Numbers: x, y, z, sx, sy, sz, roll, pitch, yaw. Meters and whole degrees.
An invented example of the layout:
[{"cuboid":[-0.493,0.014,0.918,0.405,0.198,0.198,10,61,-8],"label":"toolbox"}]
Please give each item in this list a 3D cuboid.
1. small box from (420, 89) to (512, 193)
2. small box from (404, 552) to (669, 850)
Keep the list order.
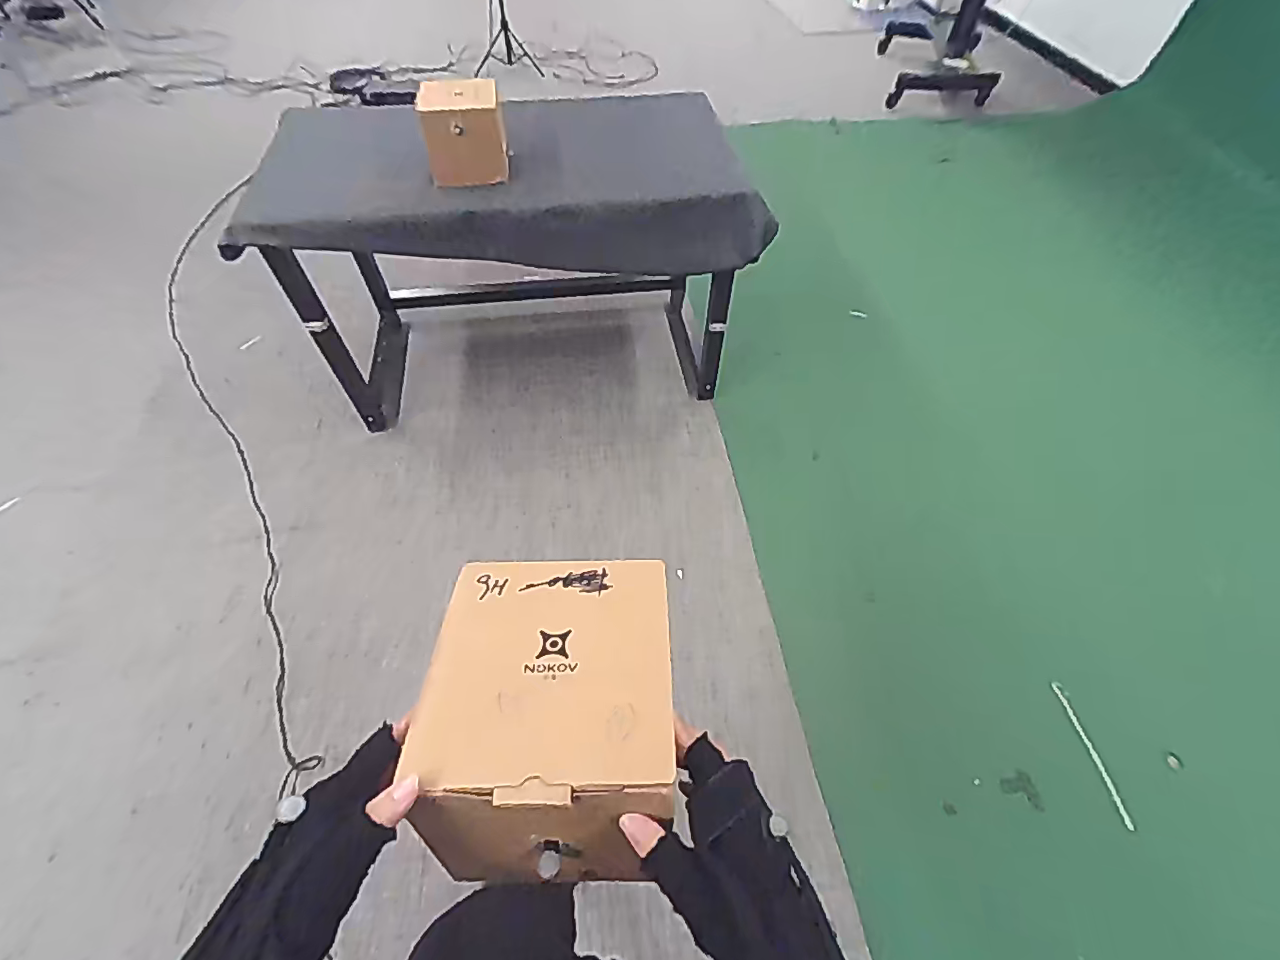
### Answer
[{"cuboid":[-0.413,-0.817,1.309,0.179,0.176,0.168,-6,56,-7],"label":"small box"},{"cuboid":[-0.061,0.180,0.439,0.168,0.176,0.179,-1,41,0],"label":"small box"}]
